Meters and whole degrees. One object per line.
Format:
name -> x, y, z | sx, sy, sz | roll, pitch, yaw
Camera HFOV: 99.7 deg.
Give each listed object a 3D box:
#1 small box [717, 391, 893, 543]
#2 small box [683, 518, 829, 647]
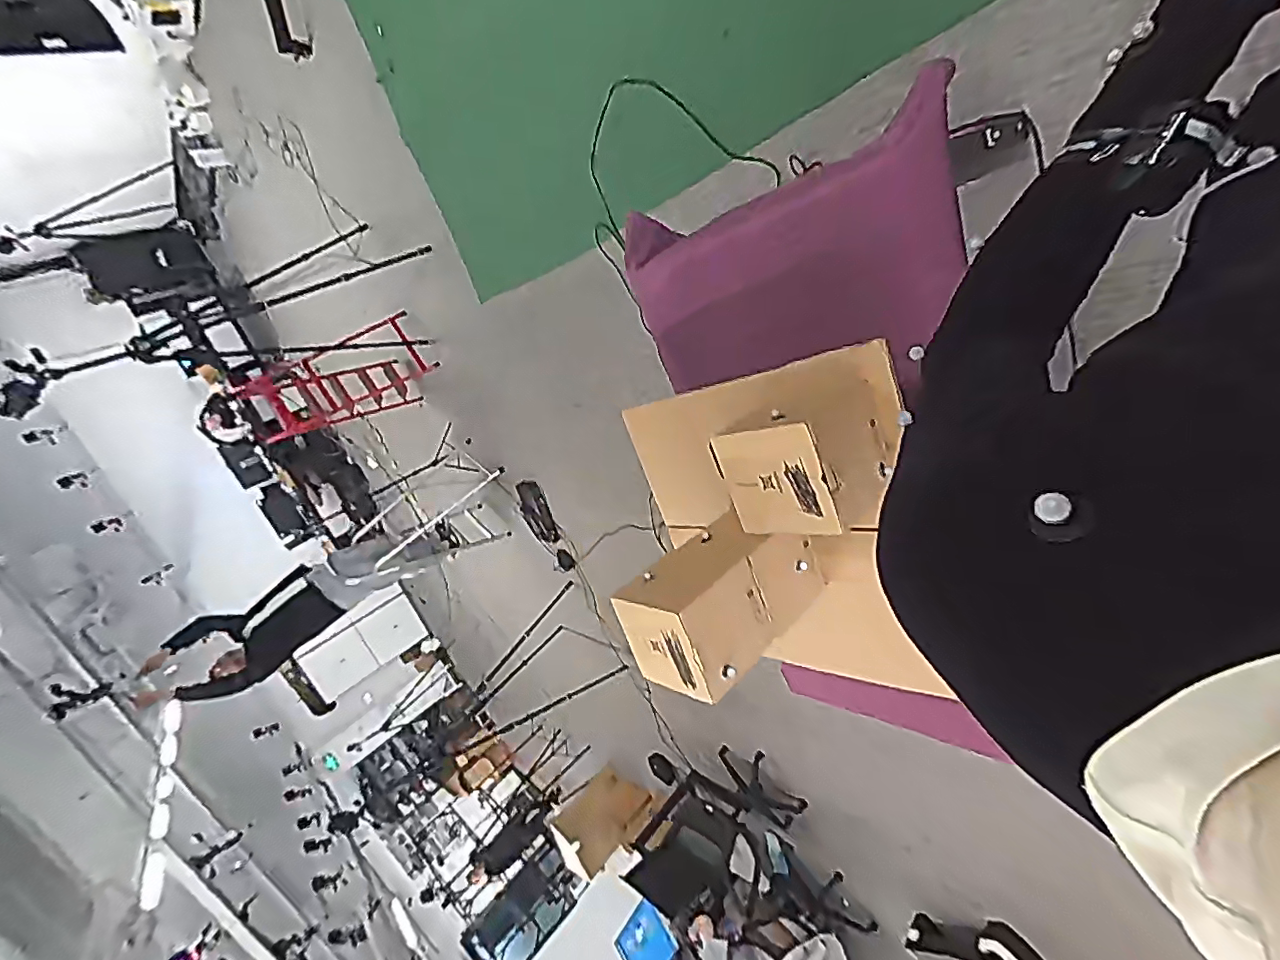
small box -> 0.253, -0.020, 0.807 | 0.179, 0.176, 0.168 | -5, 111, 52
small box -> 0.215, 0.176, 0.994 | 0.179, 0.176, 0.168 | -4, 111, 51
